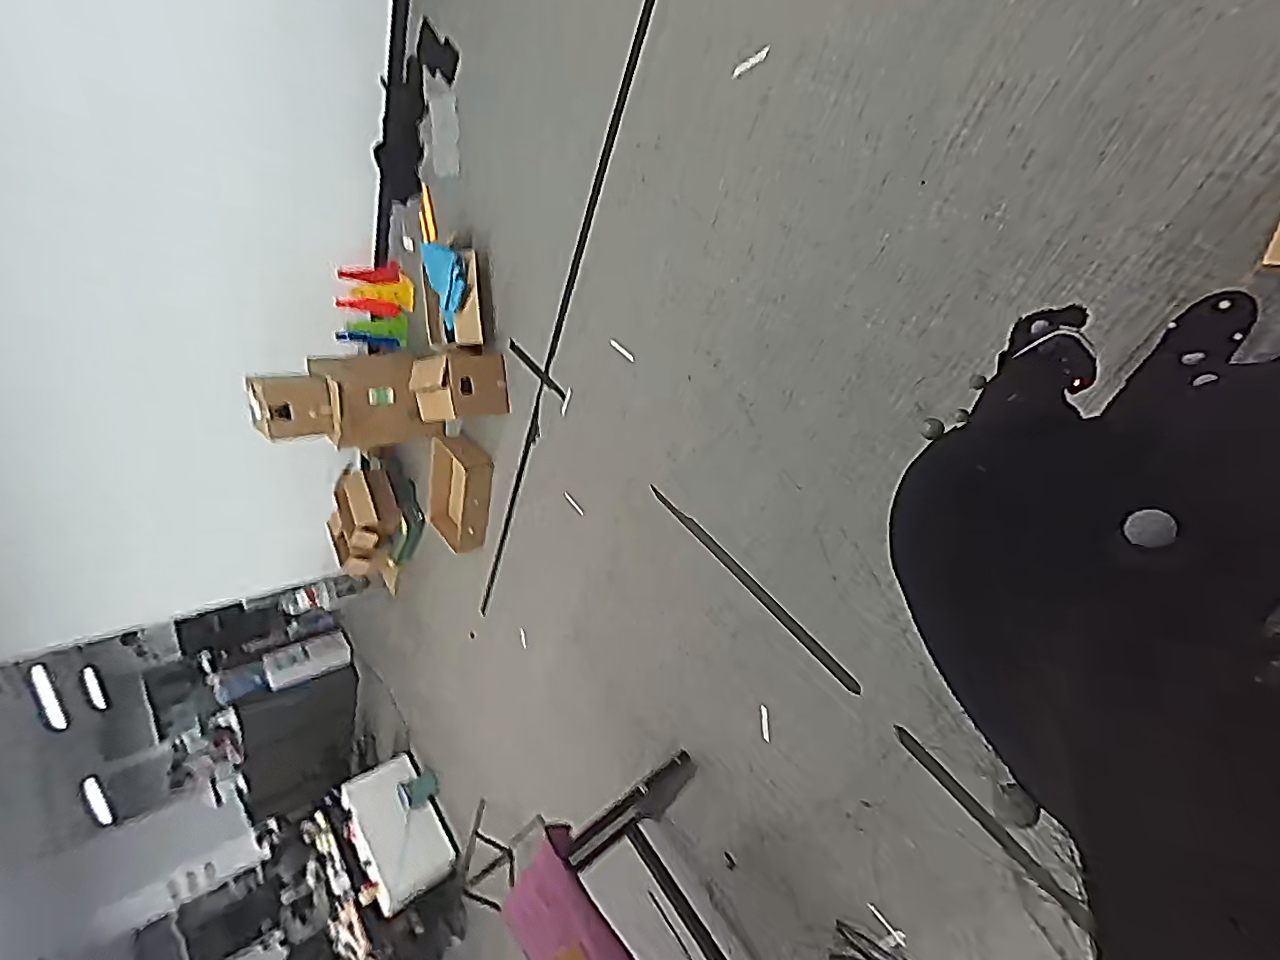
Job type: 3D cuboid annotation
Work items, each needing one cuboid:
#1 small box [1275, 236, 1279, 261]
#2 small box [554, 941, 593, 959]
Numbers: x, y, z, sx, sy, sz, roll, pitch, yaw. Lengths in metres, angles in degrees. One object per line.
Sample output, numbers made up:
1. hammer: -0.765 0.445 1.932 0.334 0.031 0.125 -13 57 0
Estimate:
1. small box: 1.142 -0.433 0.838 0.168 0.176 0.179 25 119 40
2. small box: -0.227 1.629 1.730 0.179 0.176 0.168 46 131 26
